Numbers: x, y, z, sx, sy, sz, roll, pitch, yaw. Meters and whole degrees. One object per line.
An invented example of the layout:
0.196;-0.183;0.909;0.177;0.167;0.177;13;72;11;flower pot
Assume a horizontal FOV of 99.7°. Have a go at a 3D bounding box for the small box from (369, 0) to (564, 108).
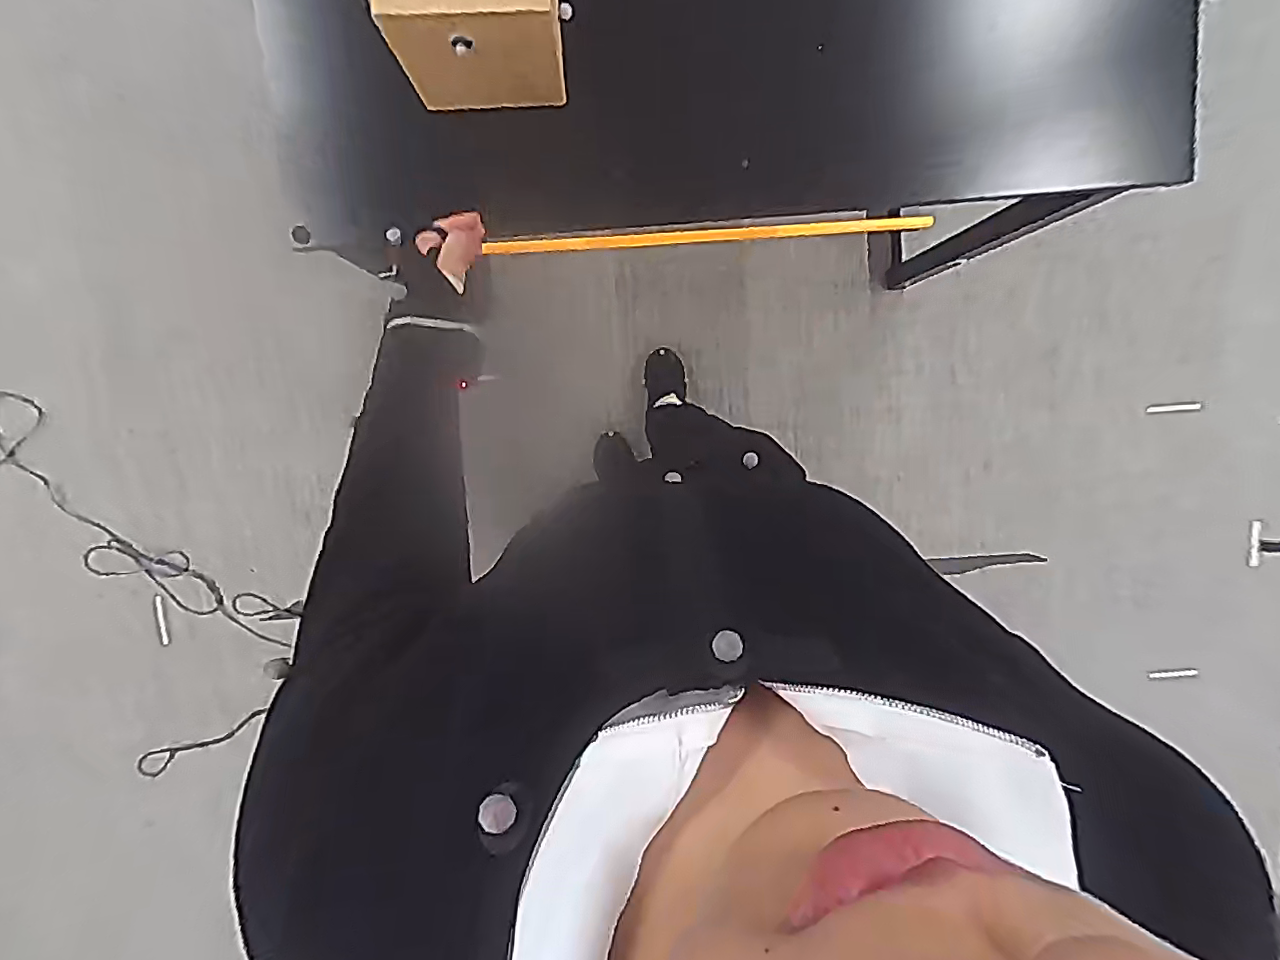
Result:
-0.185;-0.546;0.601;0.179;0.176;0.168;-4;97;-3;small box
